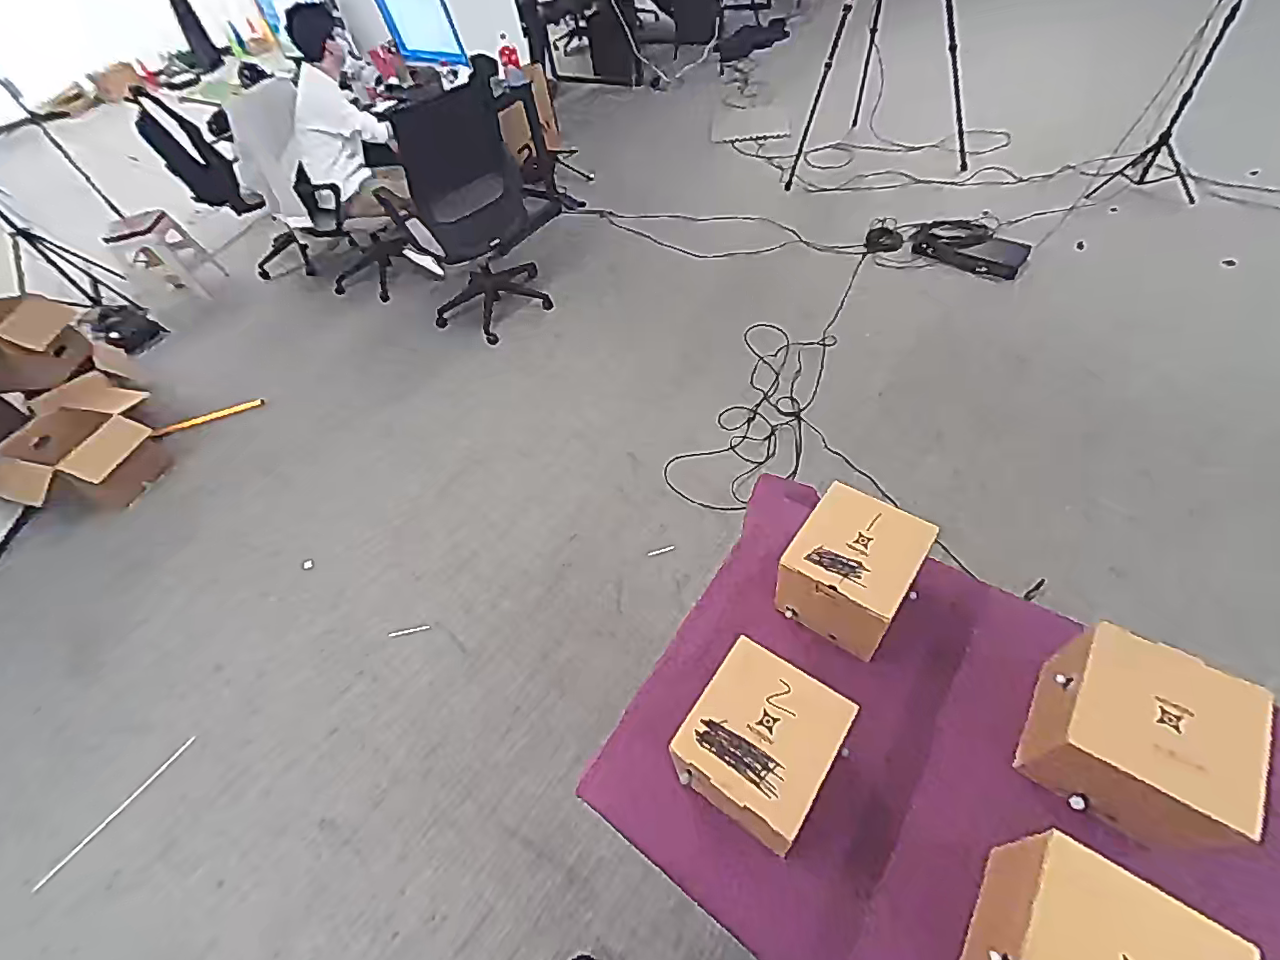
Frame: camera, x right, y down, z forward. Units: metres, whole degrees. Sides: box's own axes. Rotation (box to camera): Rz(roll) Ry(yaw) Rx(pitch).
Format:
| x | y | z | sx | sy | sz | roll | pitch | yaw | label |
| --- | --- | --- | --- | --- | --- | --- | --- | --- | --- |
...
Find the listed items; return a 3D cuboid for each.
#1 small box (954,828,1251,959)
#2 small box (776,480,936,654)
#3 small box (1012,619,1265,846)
| x | y | z | sx | sy | sz | roll | pitch | yaw | label |
| --- | --- | --- | --- | --- | --- | --- | --- | --- | --- |
| 0.447 | 0.498 | 0.547 | 0.168 | 0.176 | 0.179 | 26 | 60 | 26 | small box |
| 0.327 | 0.140 | 0.848 | 0.168 | 0.176 | 0.179 | 29 | 63 | 28 | small box |
| 0.598 | 0.312 | 0.669 | 0.168 | 0.176 | 0.179 | 27 | 62 | 28 | small box |
